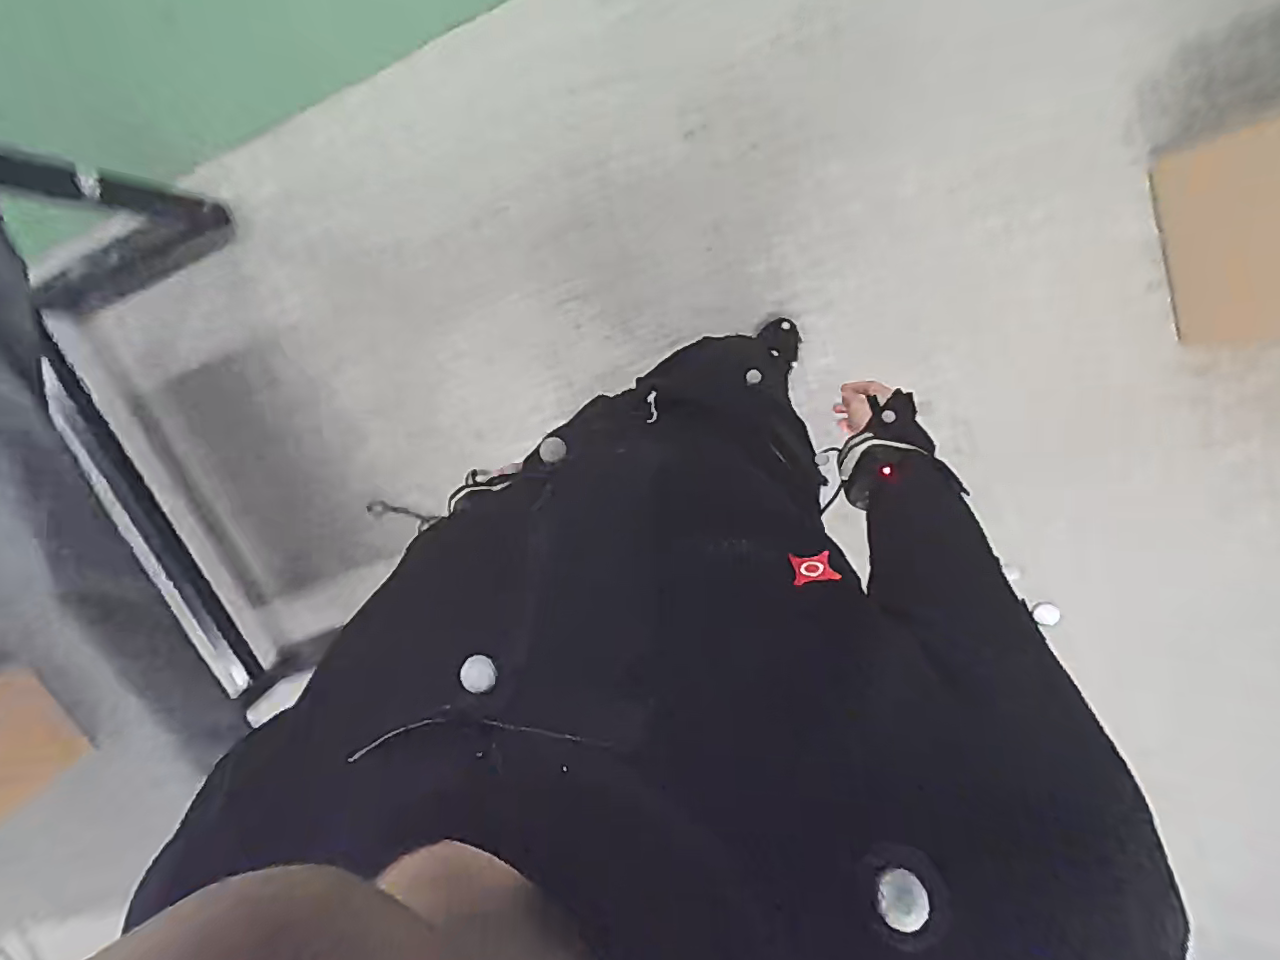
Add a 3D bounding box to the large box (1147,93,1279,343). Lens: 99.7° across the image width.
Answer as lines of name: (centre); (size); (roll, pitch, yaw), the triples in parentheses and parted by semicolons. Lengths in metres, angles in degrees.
large box: (1.223, -0.494, 0.964); (0.320, 0.320, 0.408); (-22, 104, 12)
